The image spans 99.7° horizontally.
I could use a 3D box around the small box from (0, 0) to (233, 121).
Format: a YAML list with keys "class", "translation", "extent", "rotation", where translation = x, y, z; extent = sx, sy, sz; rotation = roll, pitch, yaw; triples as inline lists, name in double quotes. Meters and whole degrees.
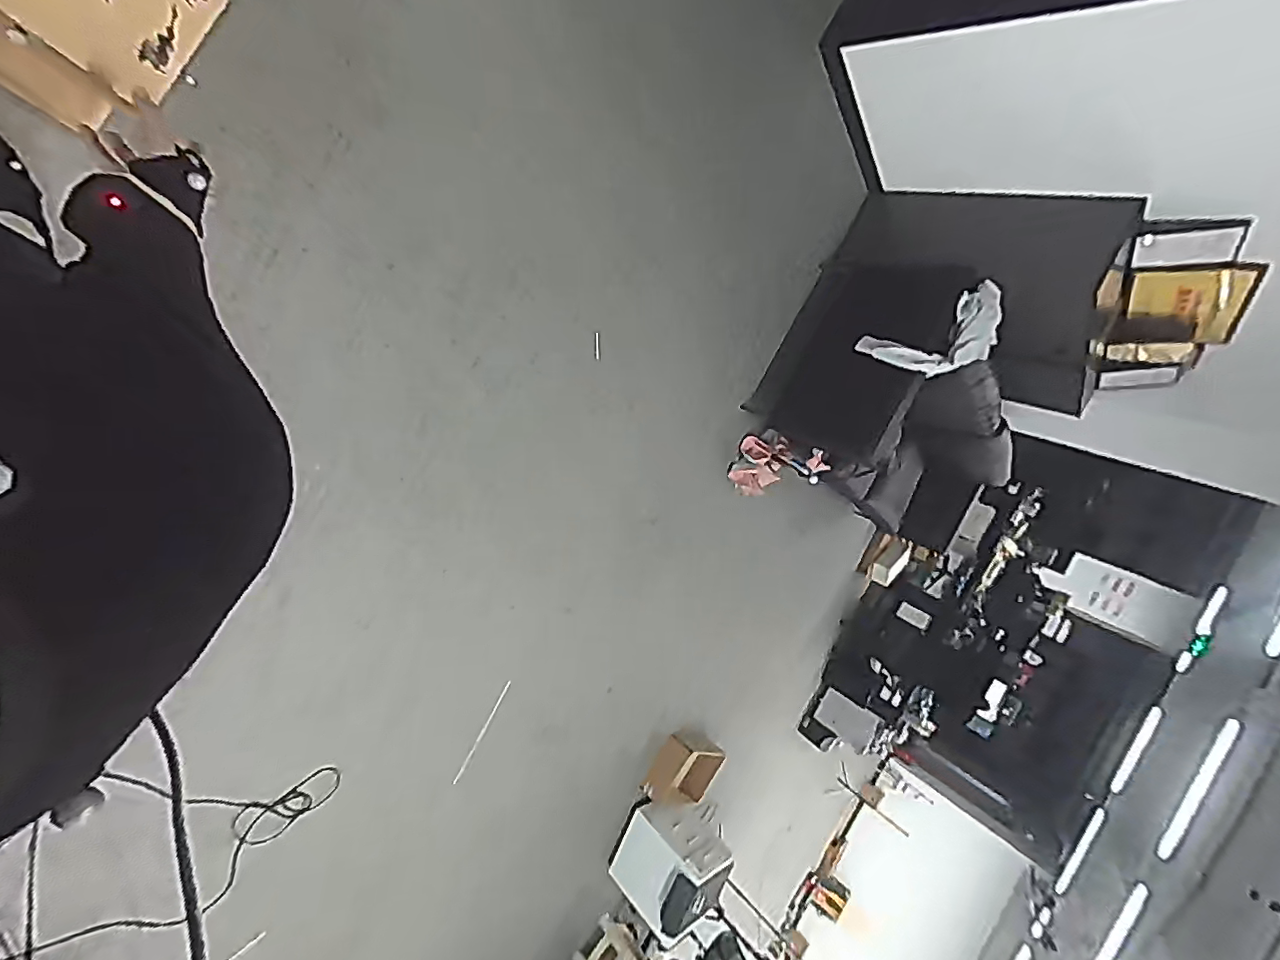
- class: "small box"
  translation: [-0.590, -0.520, 0.580]
  extent: [0.179, 0.176, 0.168]
  rotation: [34, 88, -50]
